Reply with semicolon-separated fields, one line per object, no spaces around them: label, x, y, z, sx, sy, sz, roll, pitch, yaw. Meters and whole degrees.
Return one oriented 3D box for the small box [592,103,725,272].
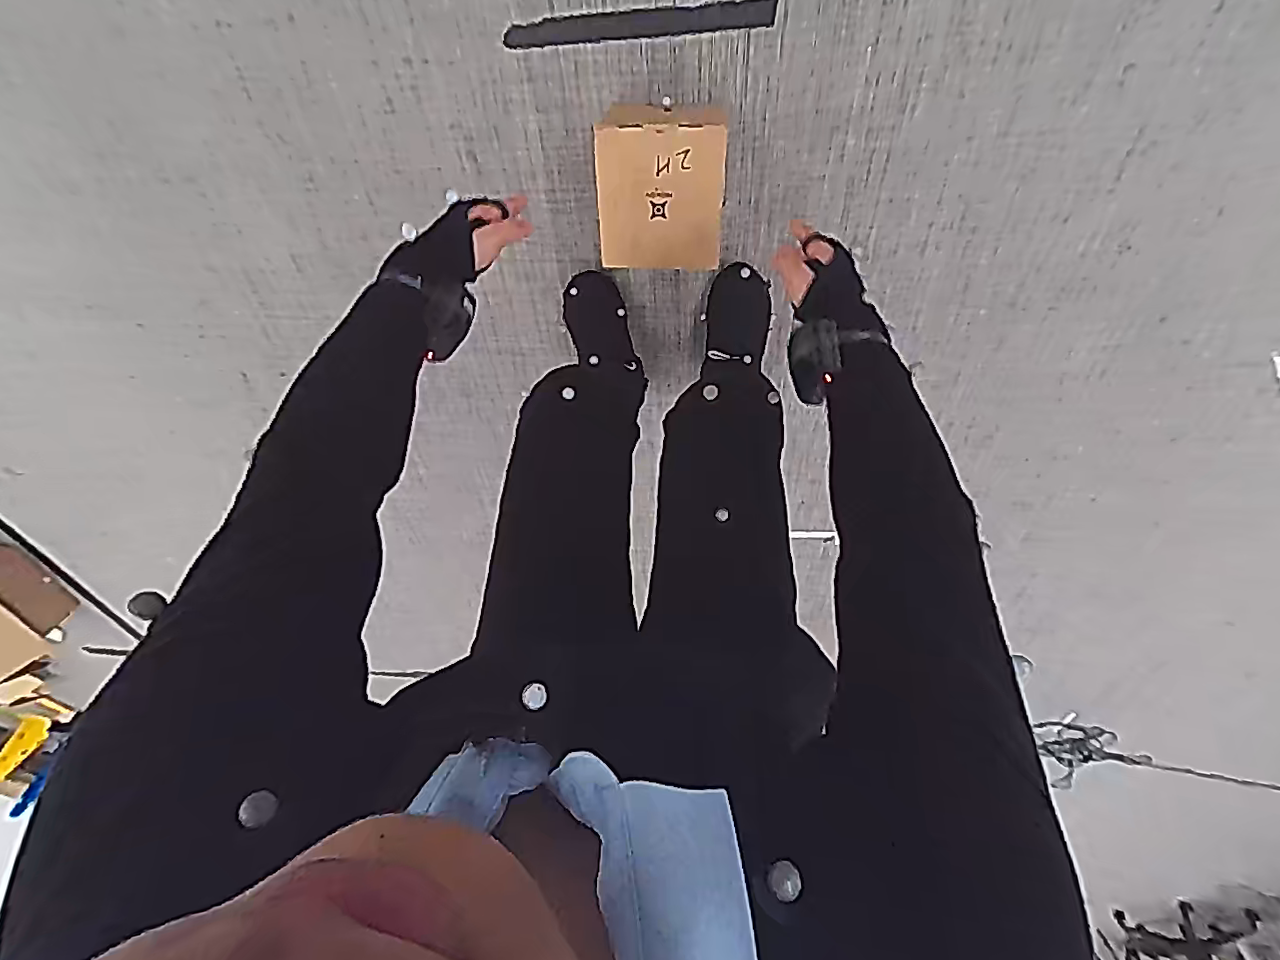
small box;0.030;-0.414;0.765;0.168;0.176;0.179;3;132;4
